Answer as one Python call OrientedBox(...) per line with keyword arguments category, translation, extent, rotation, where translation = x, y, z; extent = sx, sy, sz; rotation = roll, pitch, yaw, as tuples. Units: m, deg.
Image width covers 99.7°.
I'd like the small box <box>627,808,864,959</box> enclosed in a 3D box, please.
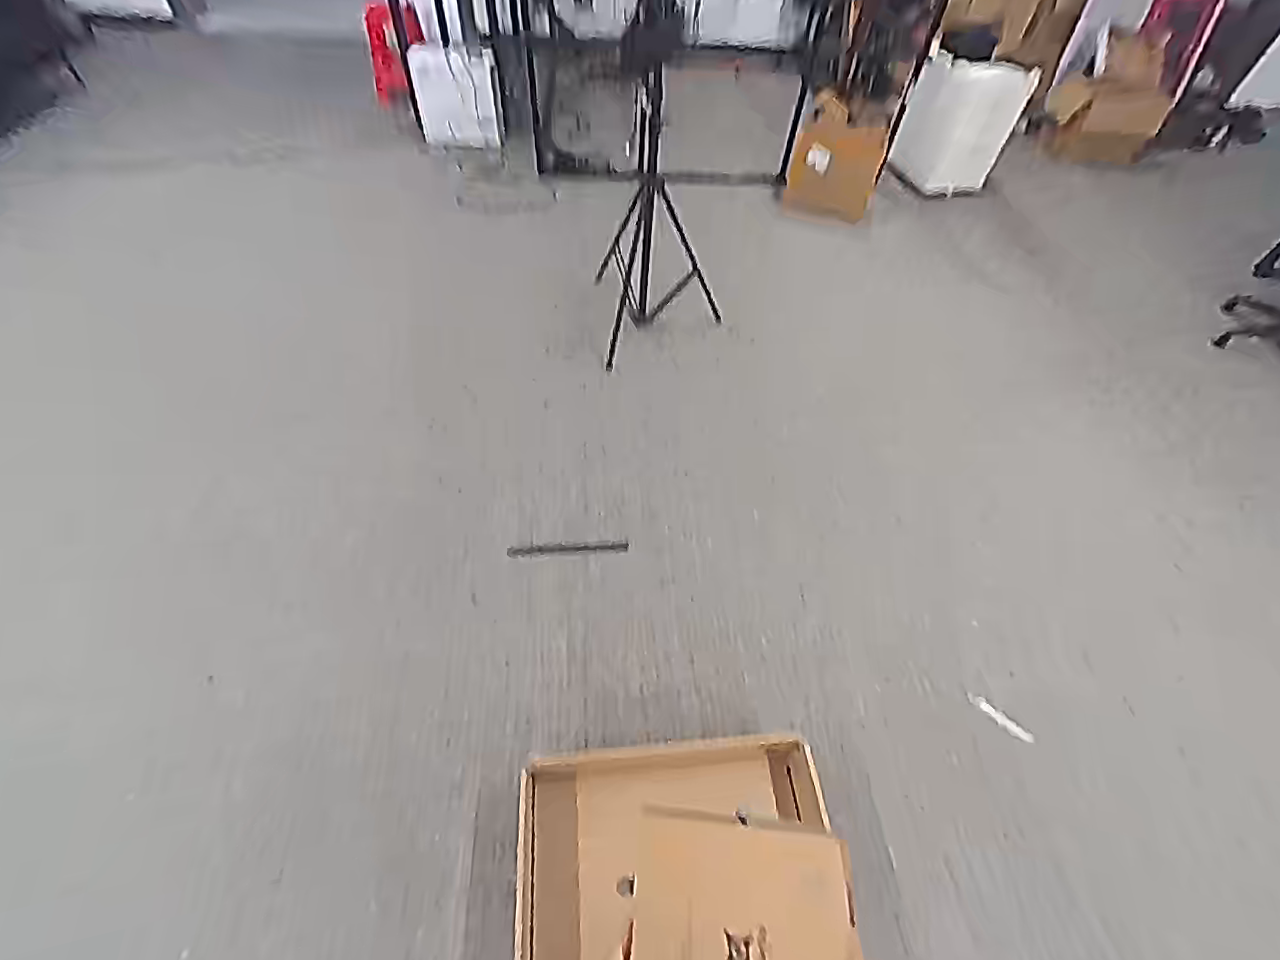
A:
OrientedBox(category="small box", translation=(0.081, 0.395, 0.475), extent=(0.179, 0.176, 0.168), rotation=(5, 61, 2))
